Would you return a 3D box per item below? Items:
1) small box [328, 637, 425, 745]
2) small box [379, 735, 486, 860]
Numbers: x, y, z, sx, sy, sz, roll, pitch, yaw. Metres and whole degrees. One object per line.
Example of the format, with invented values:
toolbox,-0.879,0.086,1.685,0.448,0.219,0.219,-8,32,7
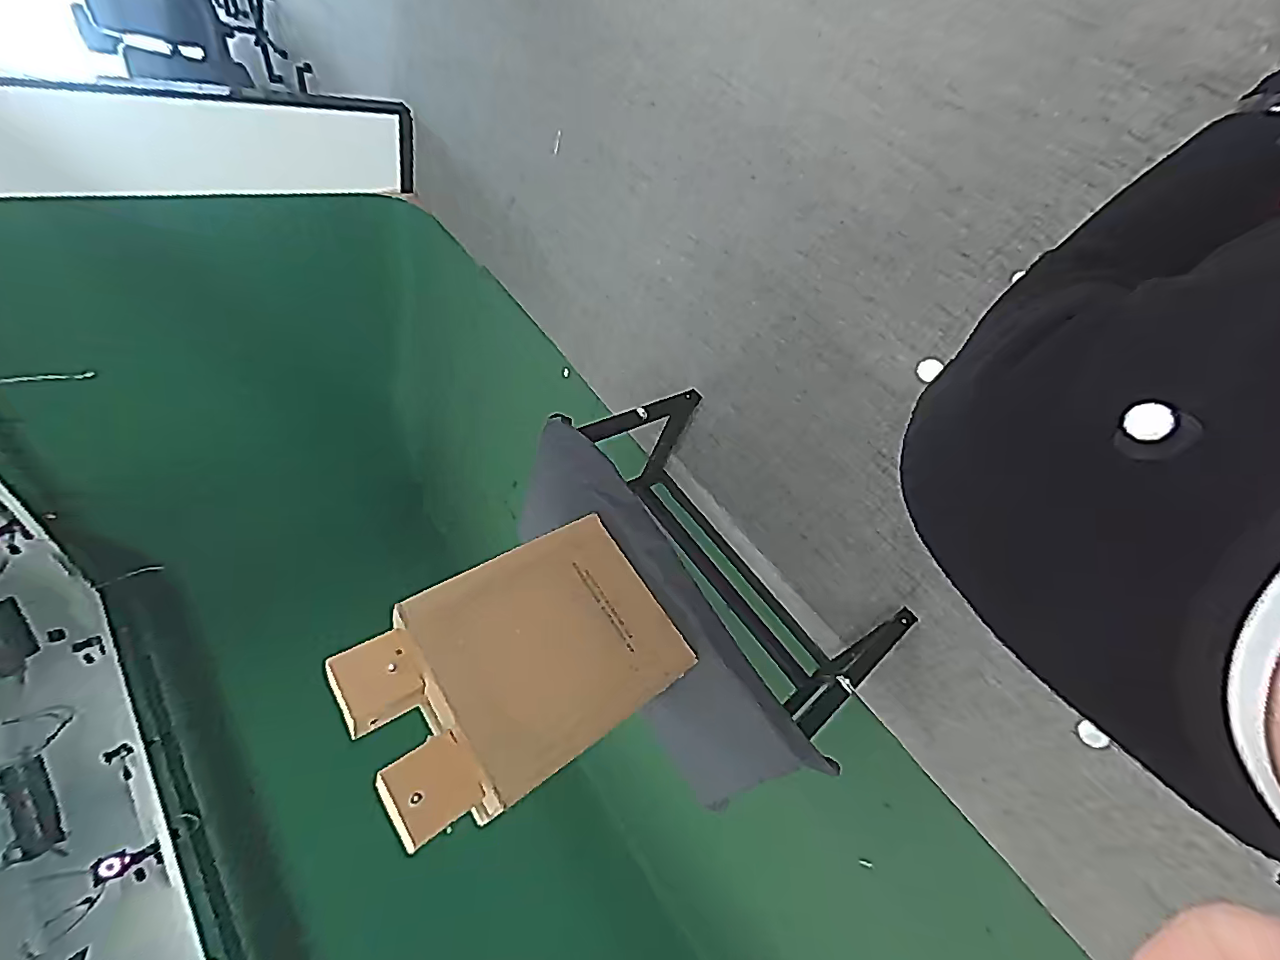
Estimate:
small box,-0.652,0.521,1.342,0.168,0.176,0.179,53,139,19
small box,-0.476,0.726,1.242,0.179,0.176,0.168,53,138,19
